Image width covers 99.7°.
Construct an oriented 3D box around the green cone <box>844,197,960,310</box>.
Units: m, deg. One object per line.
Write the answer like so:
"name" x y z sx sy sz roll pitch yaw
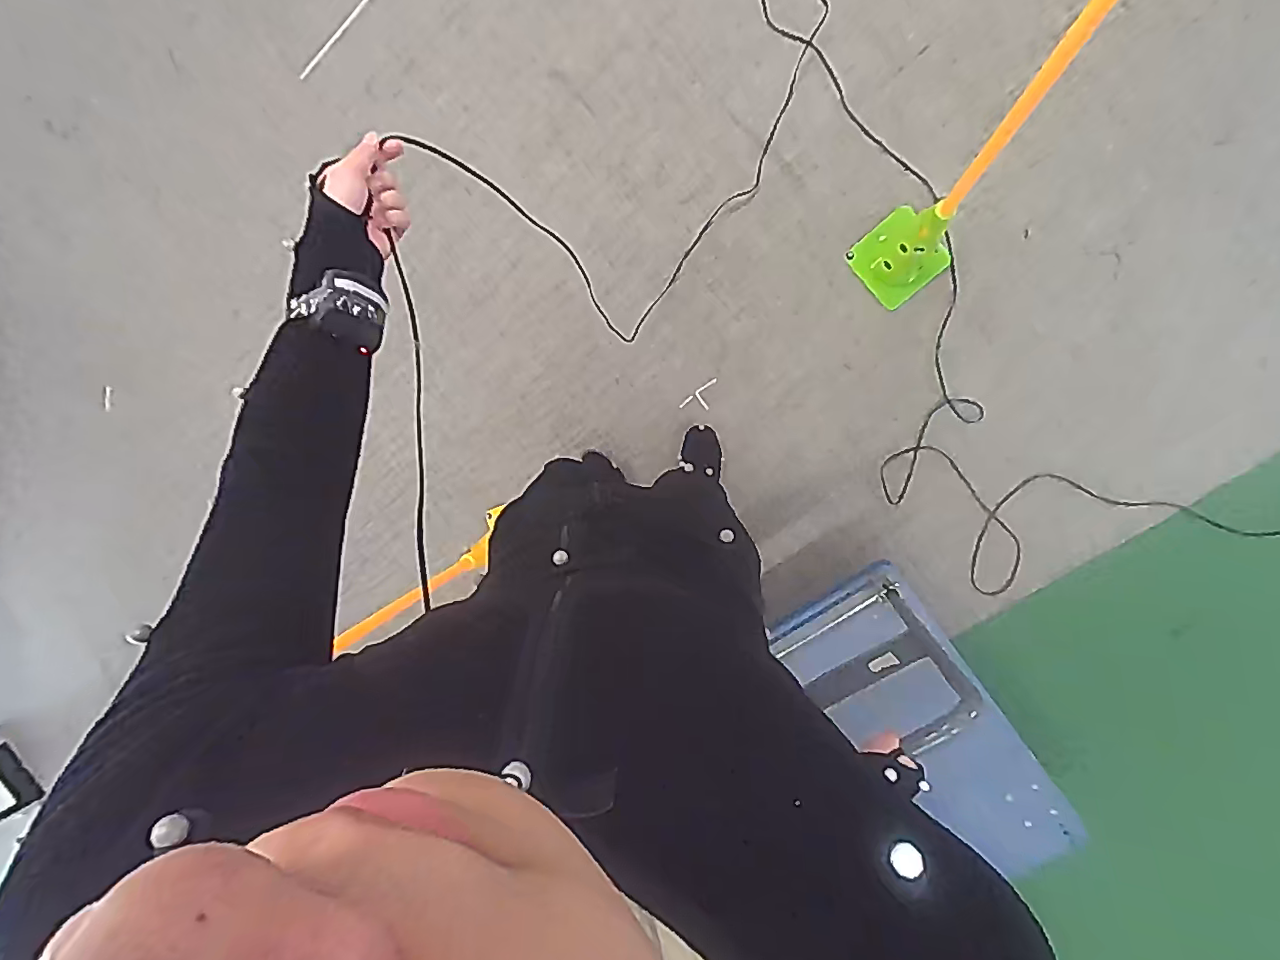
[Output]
"green cone" 0.639 -0.556 1.246 0.202 0.368 0.200 -41 89 11
